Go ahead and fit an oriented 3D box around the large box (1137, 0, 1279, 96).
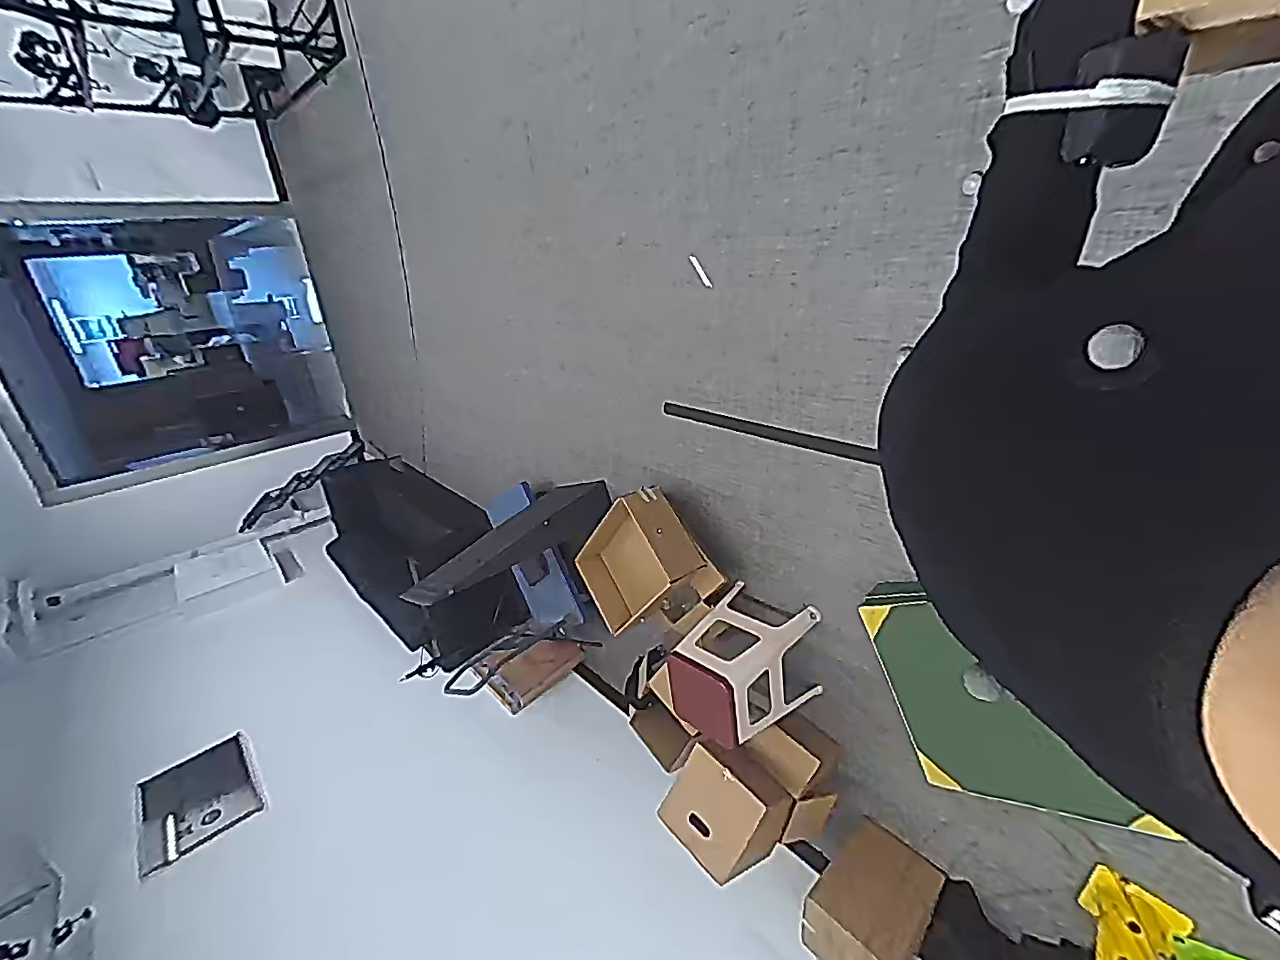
[{"bbox_3d":[0.540,-0.418,0.250,0.408,0.320,0.320,16,125,40],"label":"large box"}]
